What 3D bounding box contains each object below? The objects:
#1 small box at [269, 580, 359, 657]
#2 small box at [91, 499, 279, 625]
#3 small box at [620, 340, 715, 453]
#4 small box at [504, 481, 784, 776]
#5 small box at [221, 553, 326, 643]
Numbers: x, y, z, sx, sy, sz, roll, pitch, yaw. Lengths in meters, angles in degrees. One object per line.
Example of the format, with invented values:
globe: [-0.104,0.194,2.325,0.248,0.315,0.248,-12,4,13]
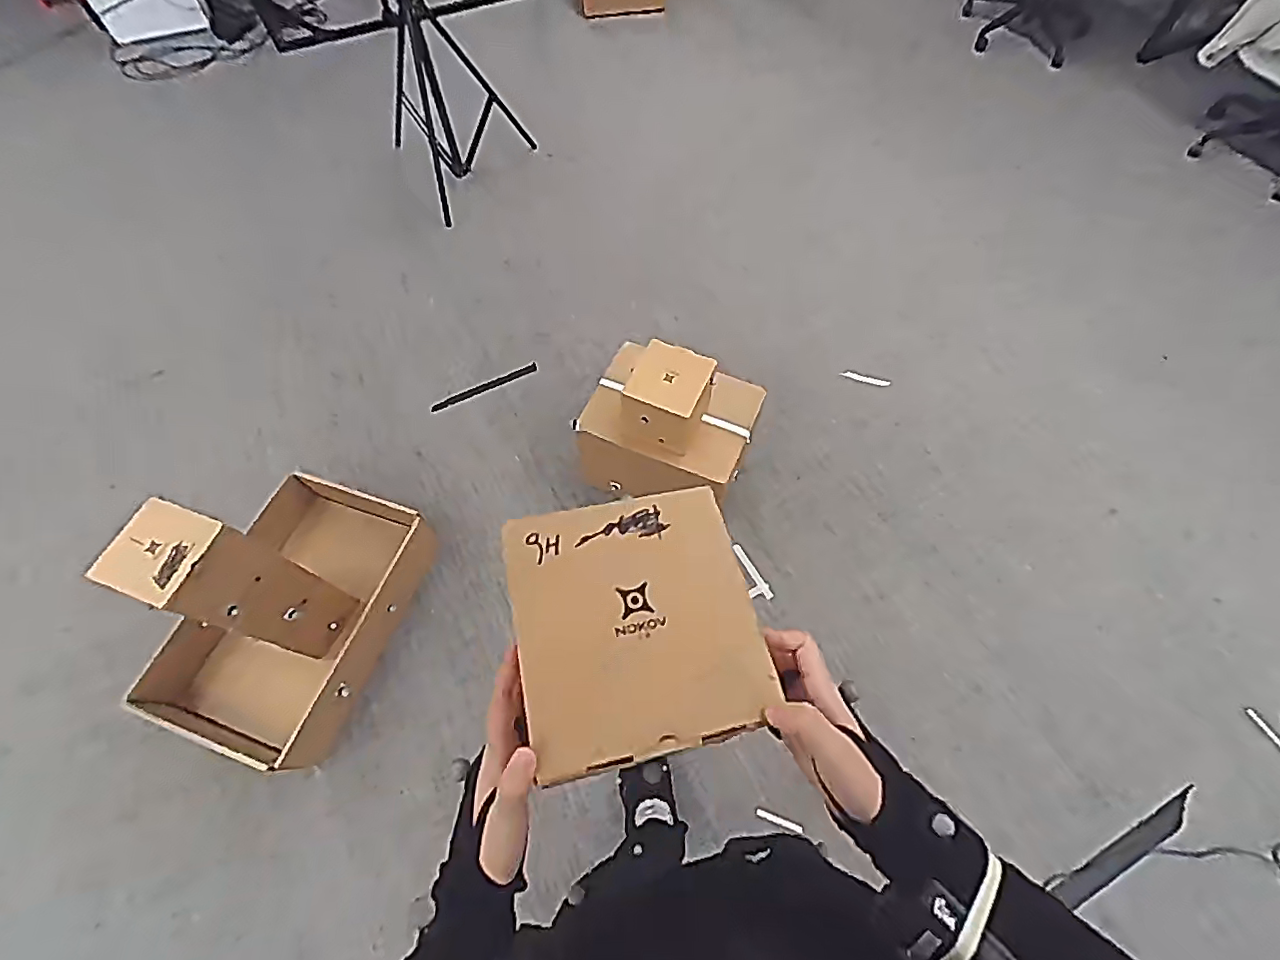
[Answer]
small box: [-0.834,0.315,1.315,0.179,0.176,0.168,20,65,10]
small box: [-0.843,0.163,1.026,0.179,0.176,0.168,17,64,11]
small box: [0.066,-0.191,1.281,0.168,0.176,0.179,22,65,11]
small box: [-0.011,0.124,0.441,0.168,0.176,0.179,-9,63,-13]
small box: [-0.836,0.239,1.172,0.179,0.176,0.168,19,65,9]
